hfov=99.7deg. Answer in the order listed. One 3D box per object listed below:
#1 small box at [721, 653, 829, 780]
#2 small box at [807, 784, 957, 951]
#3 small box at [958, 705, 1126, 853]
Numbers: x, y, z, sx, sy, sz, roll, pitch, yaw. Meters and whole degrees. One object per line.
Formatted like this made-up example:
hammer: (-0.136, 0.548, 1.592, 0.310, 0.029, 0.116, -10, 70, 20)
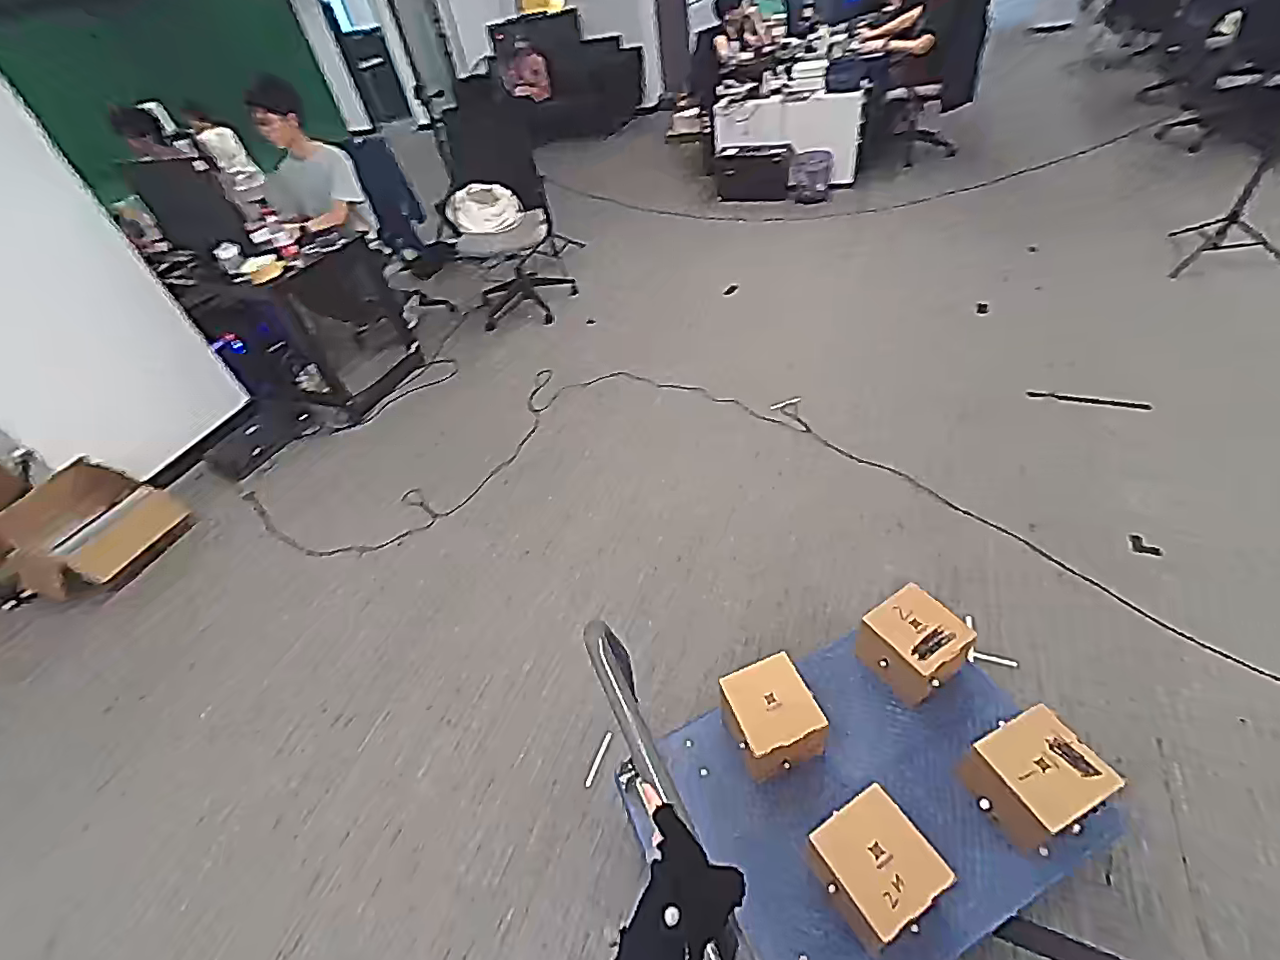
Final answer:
small box: (0.288, 0.520, 1.189, 0.168, 0.176, 0.179, -20, 46, -9)
small box: (0.422, 0.700, 0.977, 0.168, 0.176, 0.179, -27, 46, -15)
small box: (0.752, 0.573, 1.035, 0.179, 0.176, 0.168, -24, 45, -11)
